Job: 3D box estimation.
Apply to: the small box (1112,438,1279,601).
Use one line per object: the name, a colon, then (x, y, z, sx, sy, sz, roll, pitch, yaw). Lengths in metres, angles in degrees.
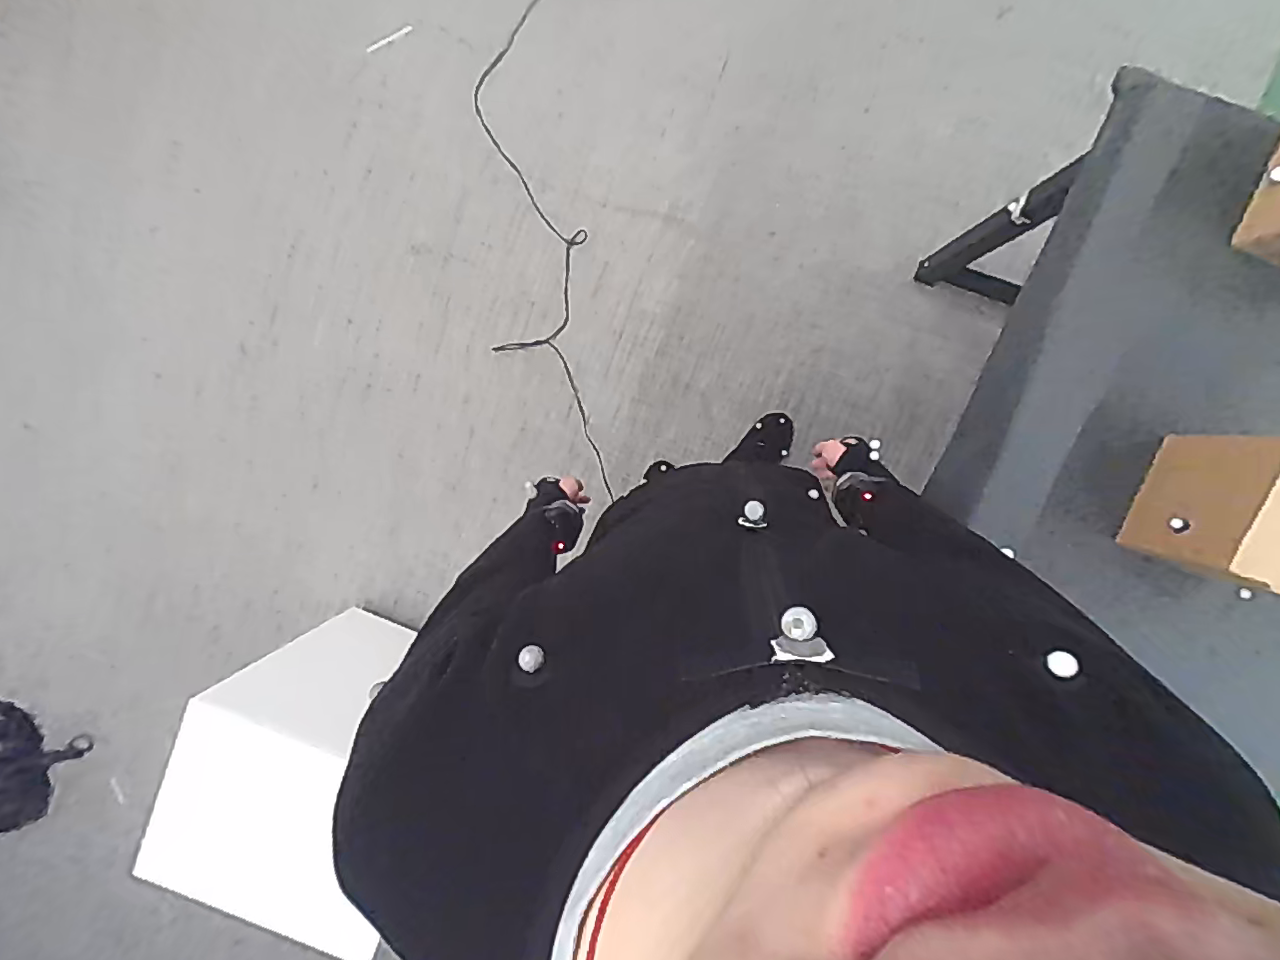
small box: (0.805, 0.052, 0.733, 0.168, 0.176, 0.179, 21, 94, -3)

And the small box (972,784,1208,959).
small box: (0.627, 0.586, 0.780, 0.168, 0.176, 0.179, 22, 96, -1)
